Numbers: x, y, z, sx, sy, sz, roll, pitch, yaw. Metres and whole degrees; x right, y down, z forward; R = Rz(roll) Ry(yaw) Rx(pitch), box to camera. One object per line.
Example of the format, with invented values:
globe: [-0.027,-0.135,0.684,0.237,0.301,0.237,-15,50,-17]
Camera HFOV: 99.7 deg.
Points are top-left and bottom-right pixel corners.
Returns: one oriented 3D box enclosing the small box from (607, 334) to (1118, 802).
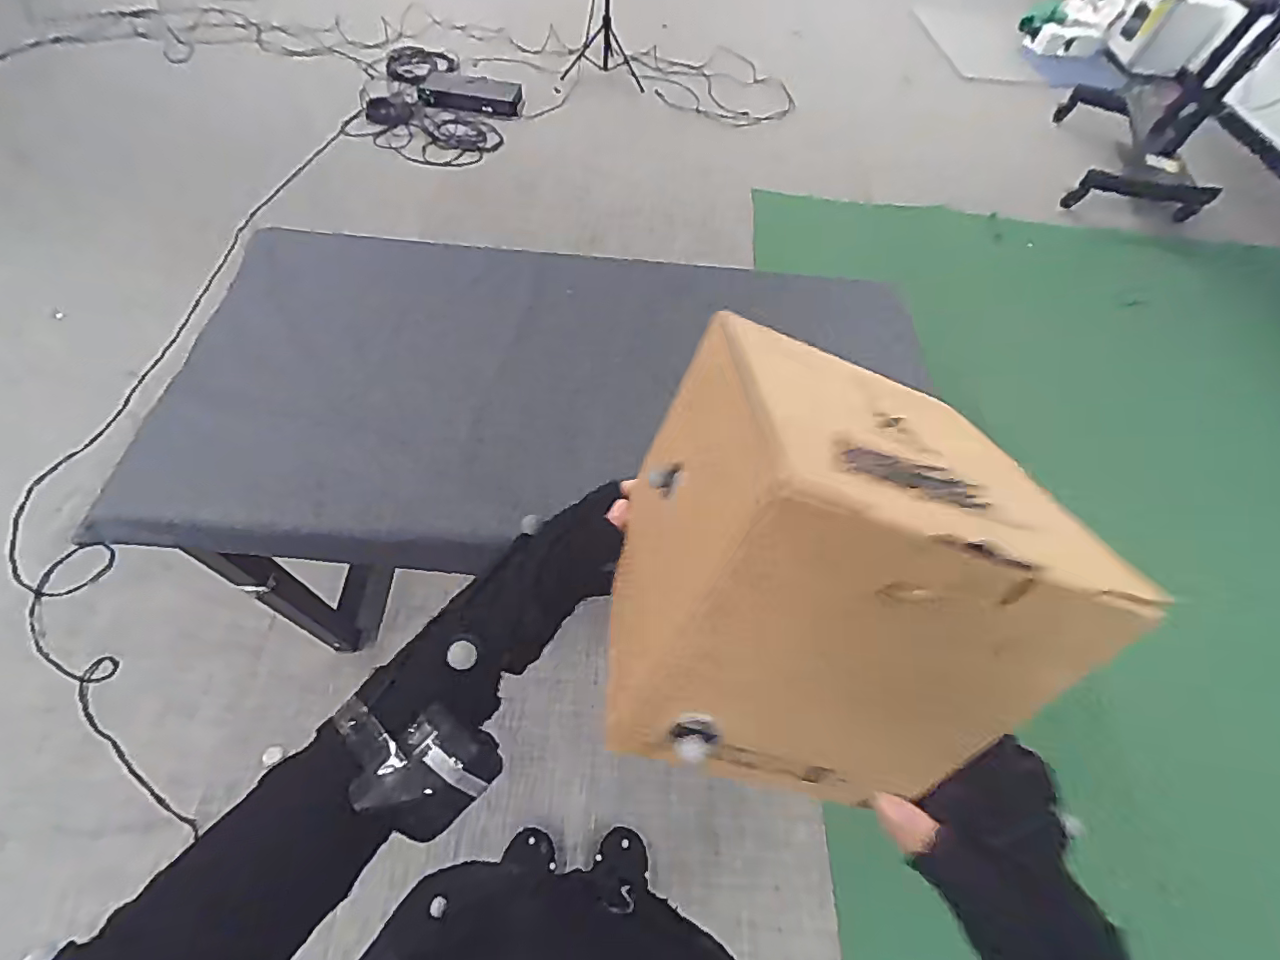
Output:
small box: [0.086,0.048,0.308,0.168,0.176,0.179,19,32,-11]
